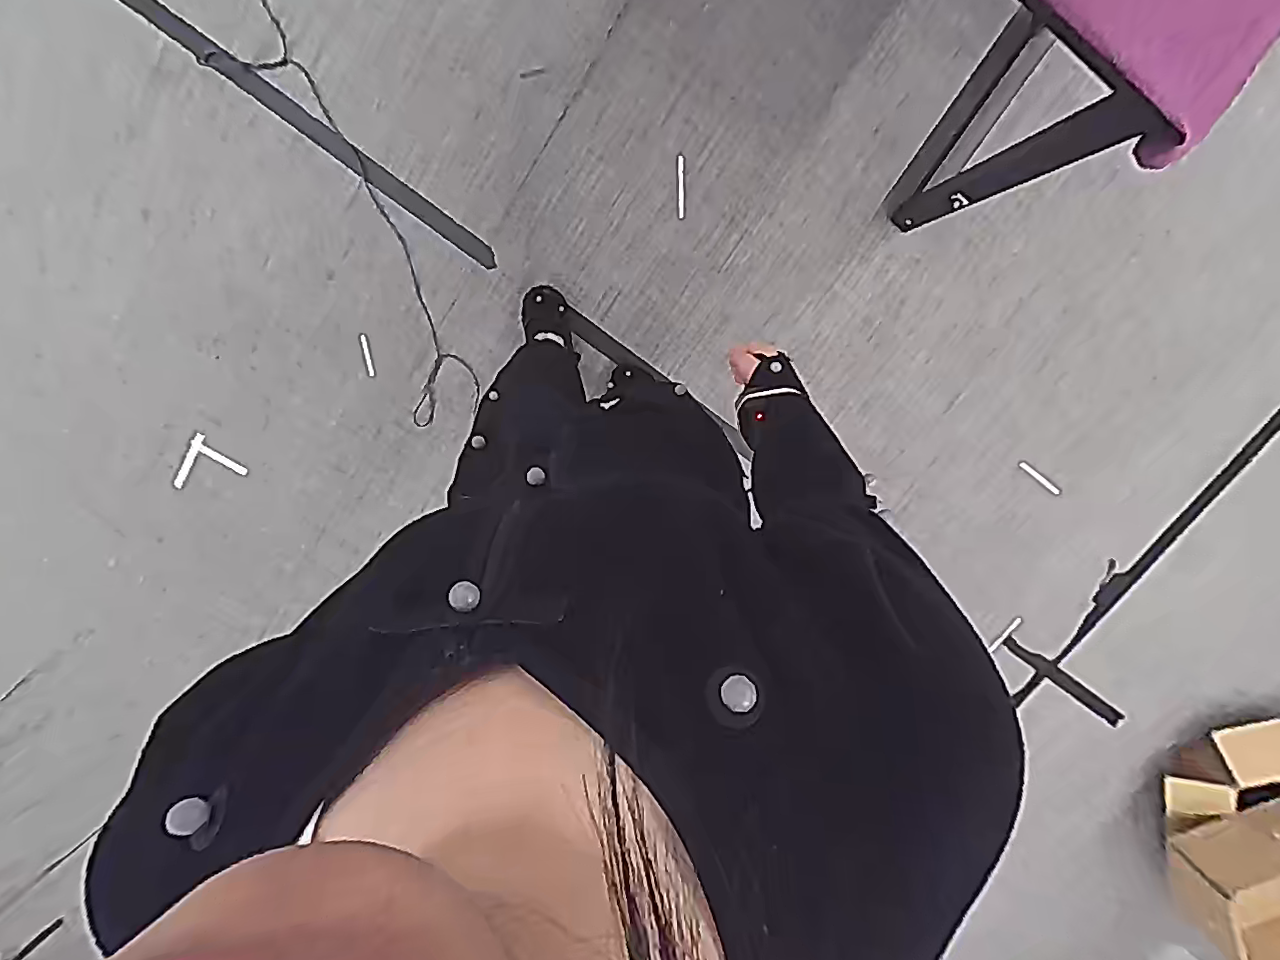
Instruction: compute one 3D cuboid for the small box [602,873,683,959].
[{"bbox_3d":[0.006,1.324,1.598,0.168,0.176,0.179,38,100,-11],"label":"small box"}]
